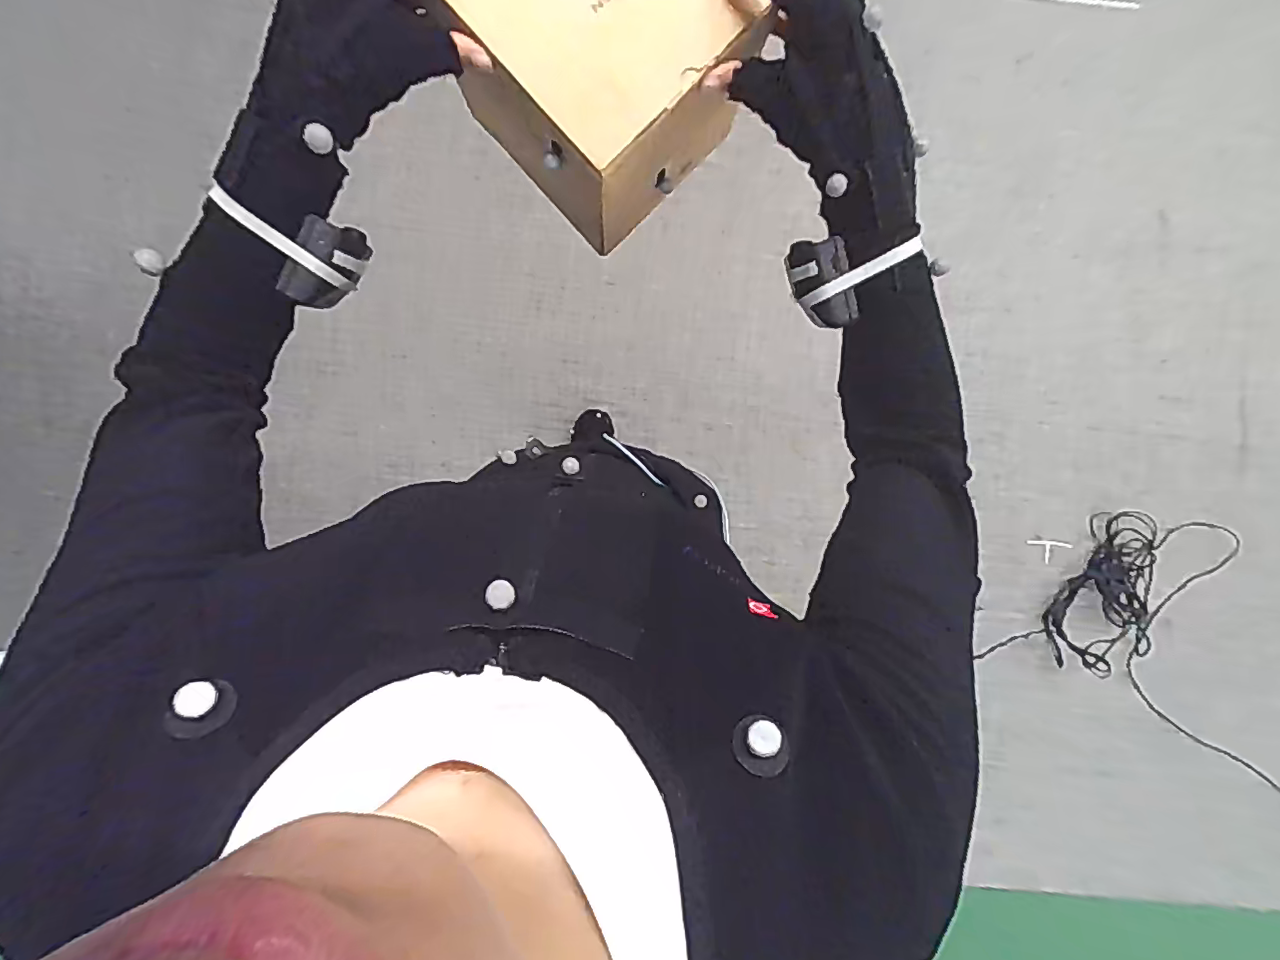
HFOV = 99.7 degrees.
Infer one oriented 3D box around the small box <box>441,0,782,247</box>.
[{"bbox_3d":[-0.028,-0.322,0.425,0.168,0.176,0.179,-44,97,1],"label":"small box"}]
